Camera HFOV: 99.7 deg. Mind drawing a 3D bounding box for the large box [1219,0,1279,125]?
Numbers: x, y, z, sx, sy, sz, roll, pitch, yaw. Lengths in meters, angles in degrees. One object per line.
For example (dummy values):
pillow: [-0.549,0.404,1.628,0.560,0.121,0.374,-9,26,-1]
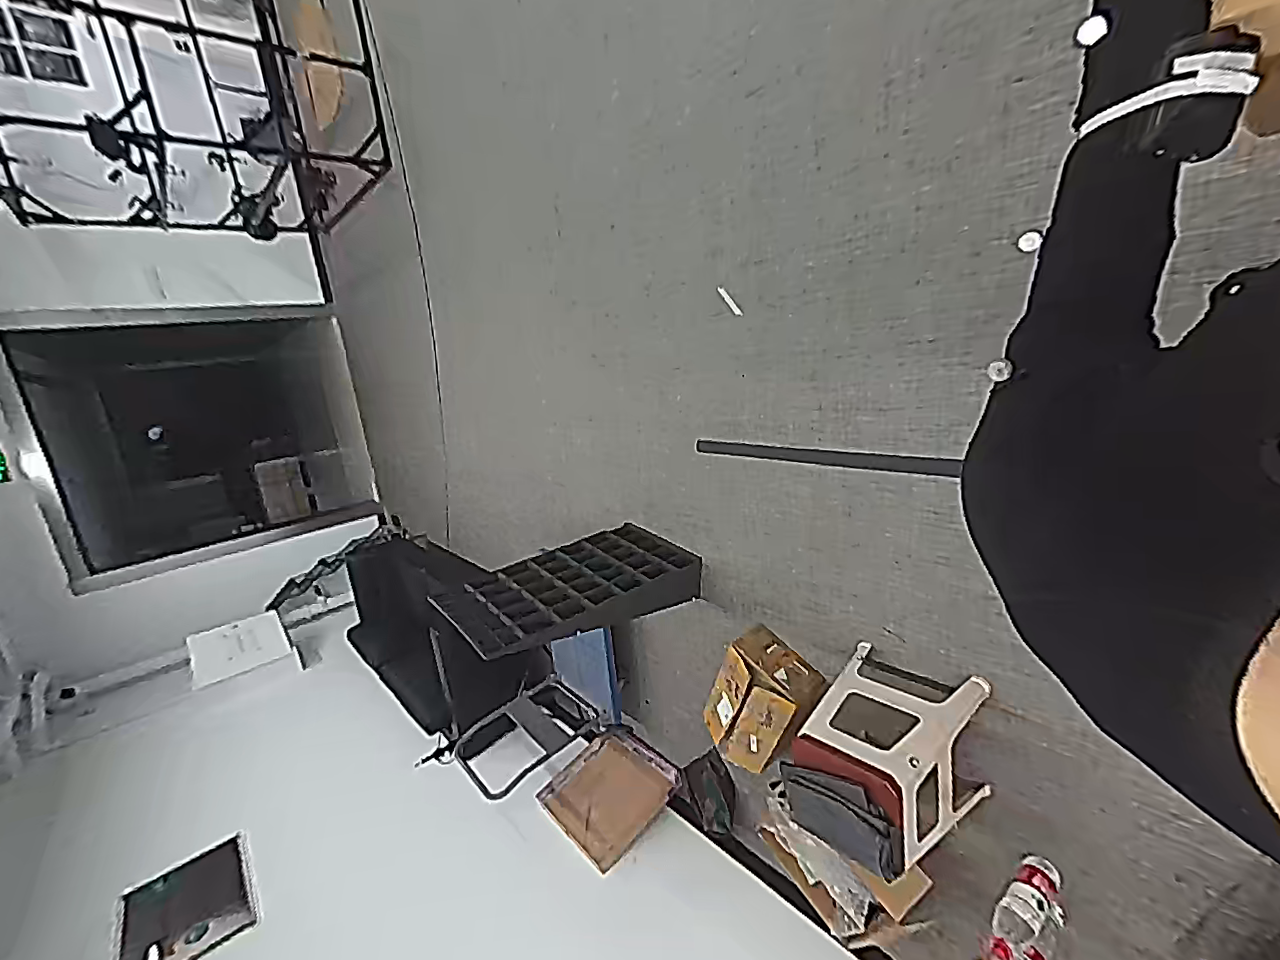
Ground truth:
large box: [0.616,-0.445,0.271,0.408,0.320,0.320,11,113,51]
